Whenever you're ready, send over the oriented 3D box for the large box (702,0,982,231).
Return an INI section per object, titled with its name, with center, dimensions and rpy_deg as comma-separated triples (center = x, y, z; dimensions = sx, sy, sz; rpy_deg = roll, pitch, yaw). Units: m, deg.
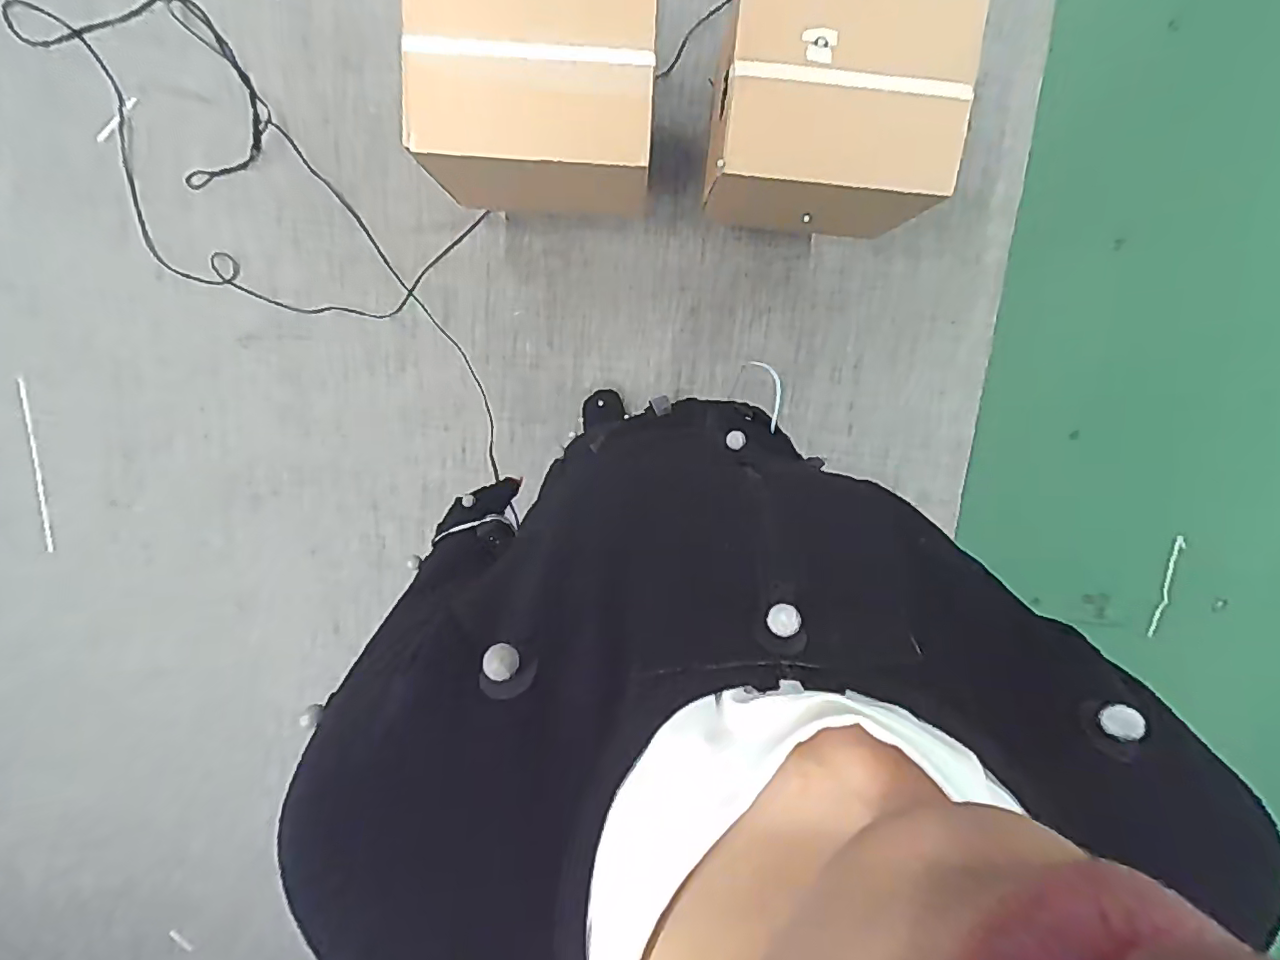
[large box]
center = 0.351, -0.695, 1.051
dimensions = 0.408, 0.320, 0.320
rpy_deg = 5, 101, -2
